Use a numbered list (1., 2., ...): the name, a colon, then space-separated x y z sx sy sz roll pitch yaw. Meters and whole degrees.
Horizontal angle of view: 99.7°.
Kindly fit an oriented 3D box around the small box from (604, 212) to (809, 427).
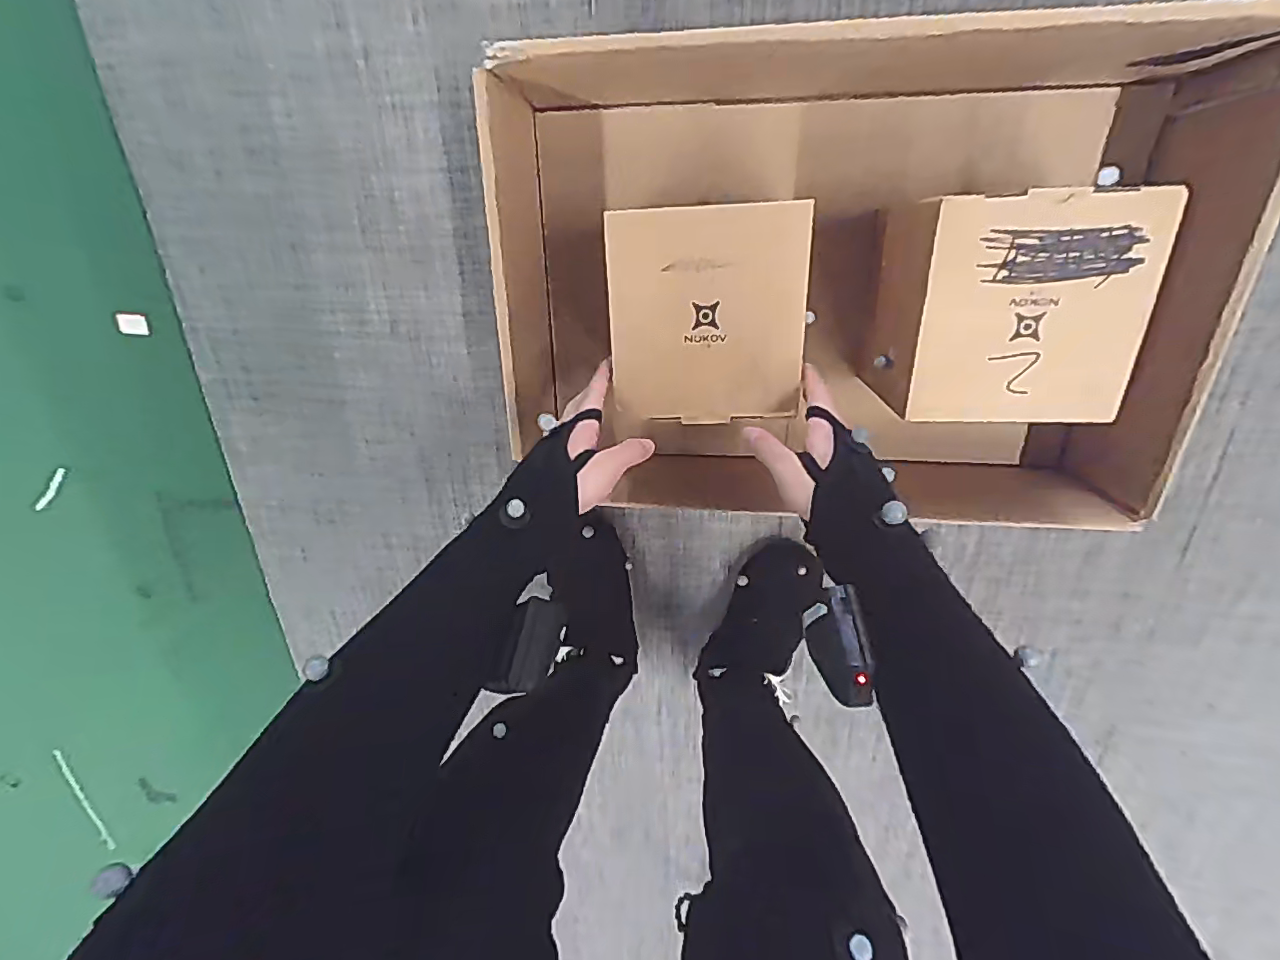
1. small box: 0.062 -0.159 0.533 0.168 0.176 0.179 0 111 6
